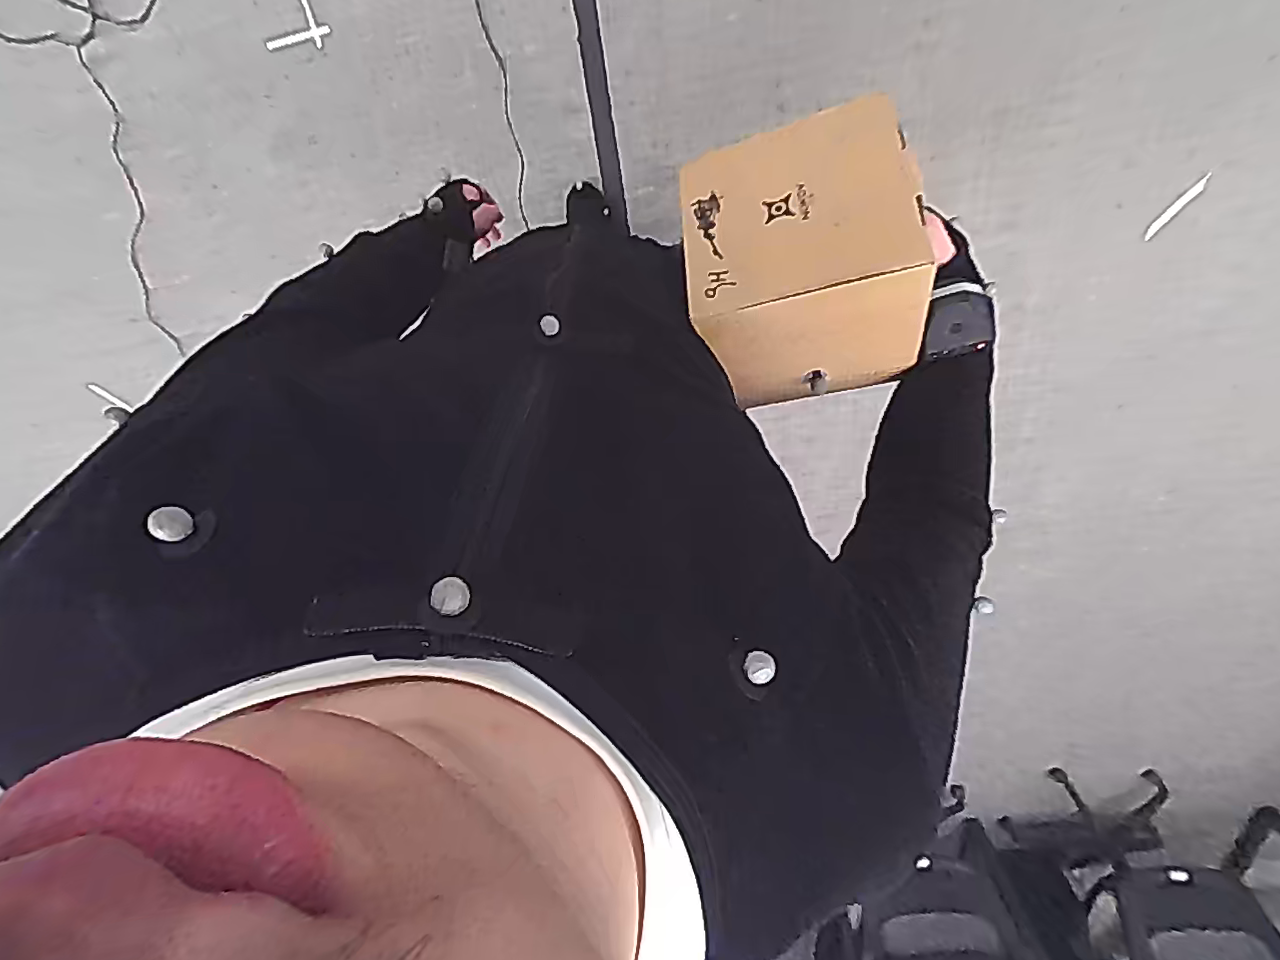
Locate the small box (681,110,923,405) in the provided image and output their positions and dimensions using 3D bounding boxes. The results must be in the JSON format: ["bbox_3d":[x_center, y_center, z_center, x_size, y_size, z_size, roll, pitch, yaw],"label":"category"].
[{"bbox_3d":[0.148,-0.191,0.513,0.179,0.168,0.176,-9,158,19],"label":"small box"}]
